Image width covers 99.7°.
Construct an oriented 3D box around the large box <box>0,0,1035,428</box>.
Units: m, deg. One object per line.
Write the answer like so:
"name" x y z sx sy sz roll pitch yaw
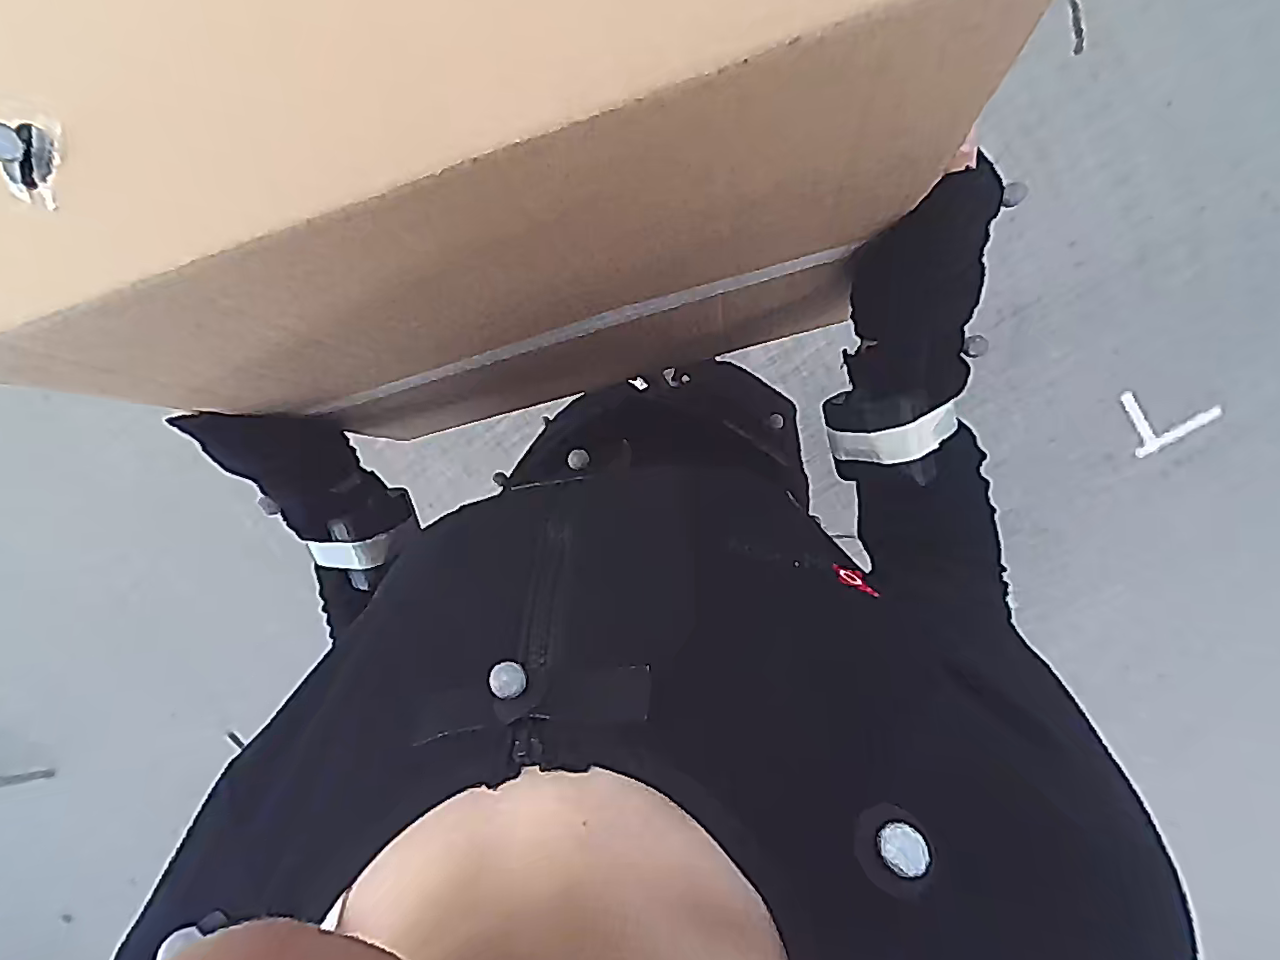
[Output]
"large box" -0.078 -0.244 0.337 0.408 0.320 0.320 -13 87 9
